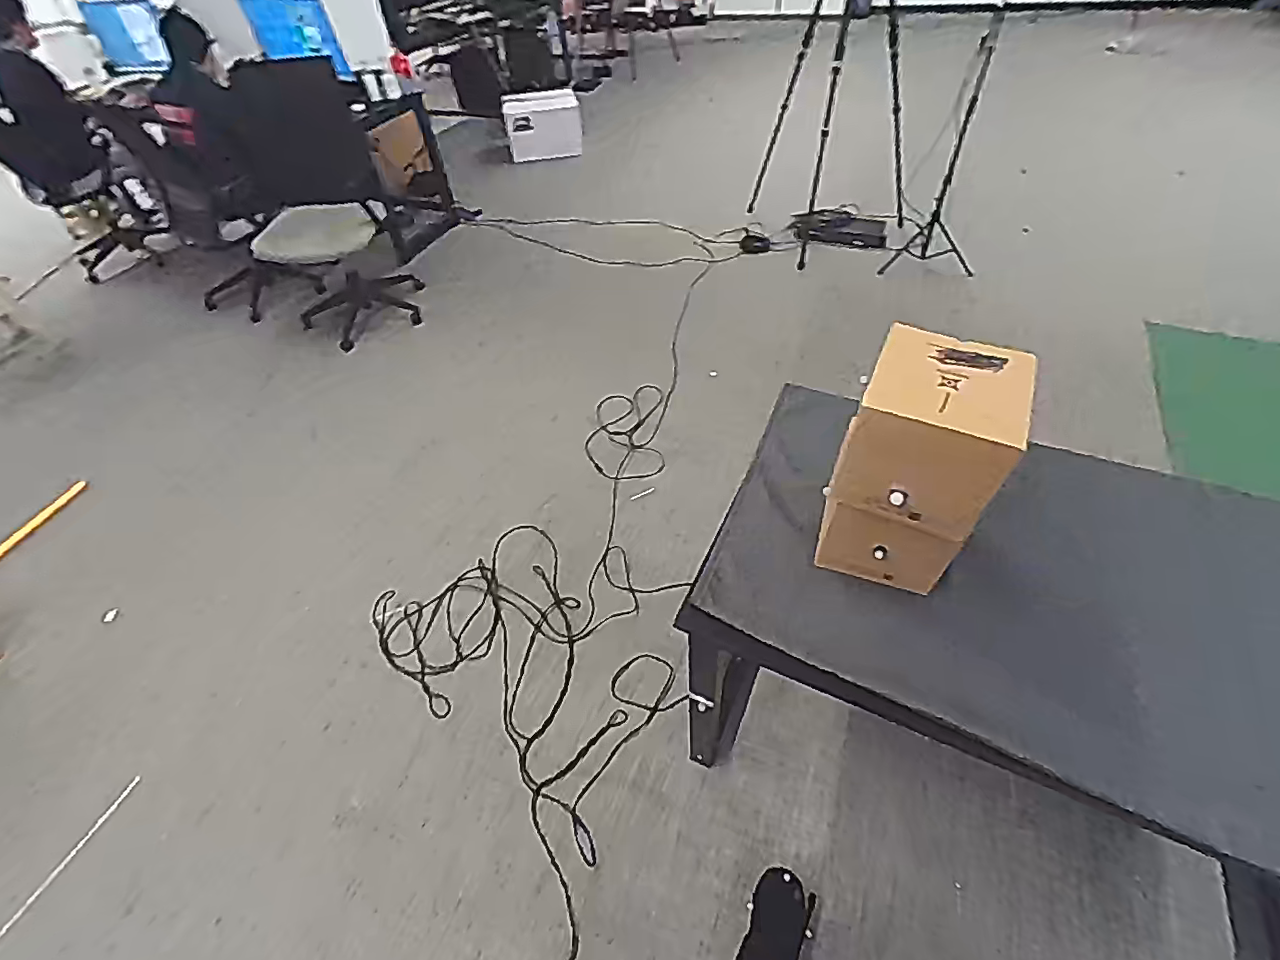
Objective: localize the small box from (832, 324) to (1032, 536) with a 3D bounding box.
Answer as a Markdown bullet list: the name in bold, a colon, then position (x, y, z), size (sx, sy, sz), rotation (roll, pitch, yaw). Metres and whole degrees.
- **small box**: position (0.357, -0.063, 0.679), size (0.168, 0.176, 0.179), rotation (20, 54, 20)

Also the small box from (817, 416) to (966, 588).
- **small box**: position (0.371, 0.035, 0.811), size (0.168, 0.176, 0.179), rotation (14, 50, 15)
